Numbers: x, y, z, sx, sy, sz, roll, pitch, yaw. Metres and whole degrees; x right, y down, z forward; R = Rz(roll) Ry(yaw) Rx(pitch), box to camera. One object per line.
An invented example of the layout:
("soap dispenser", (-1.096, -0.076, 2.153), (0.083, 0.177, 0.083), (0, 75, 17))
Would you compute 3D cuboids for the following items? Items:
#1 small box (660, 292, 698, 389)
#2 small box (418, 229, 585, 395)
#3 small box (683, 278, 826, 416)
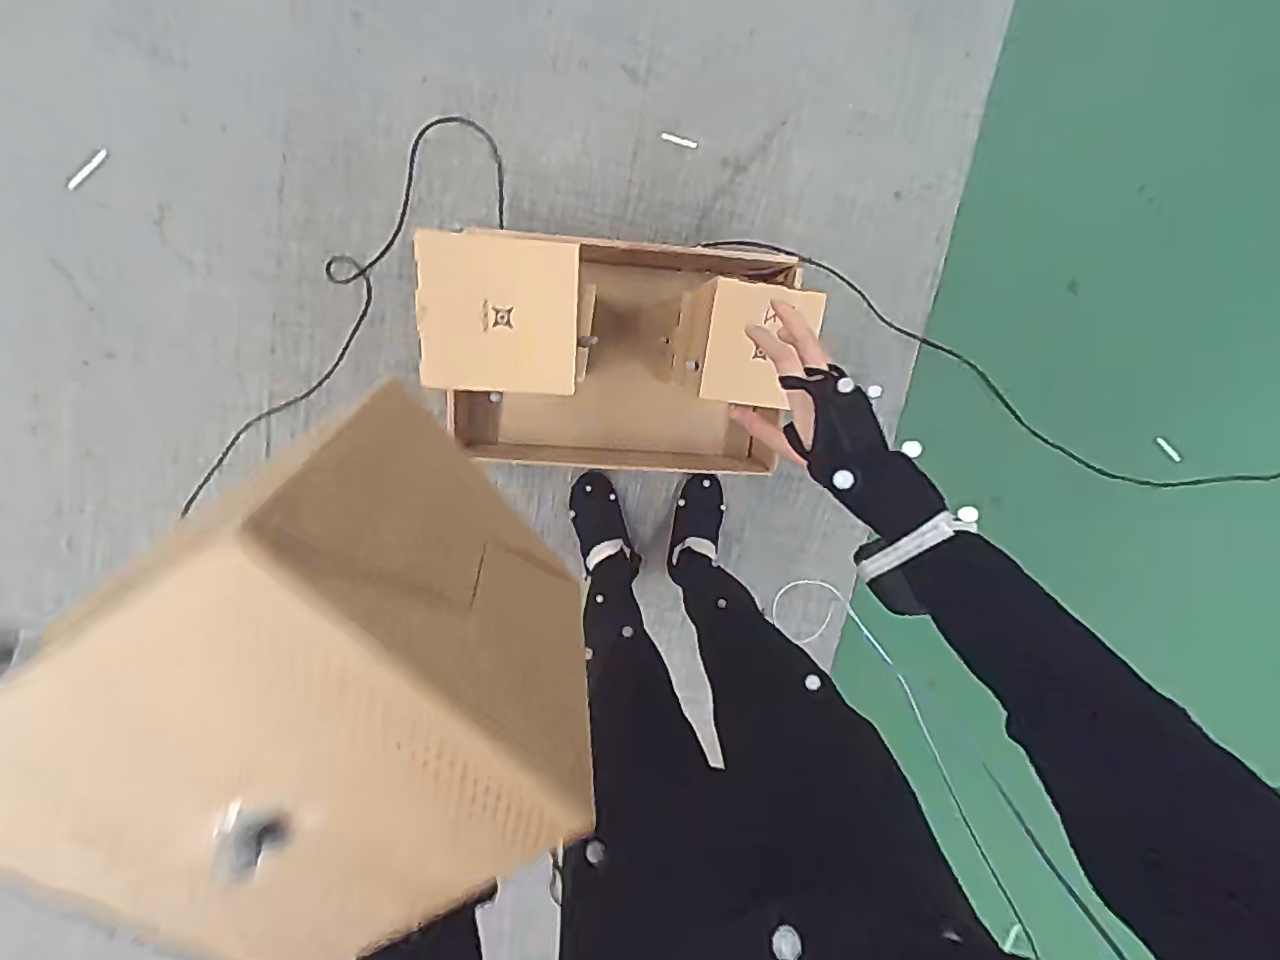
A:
("small box", (0.140, -0.248, 1.024), (0.179, 0.176, 0.168), (7, 102, -7))
("small box", (-0.159, -0.202, 0.671), (0.179, 0.176, 0.168), (2, 104, -5))
("small box", (0.170, -0.208, 0.867), (0.168, 0.176, 0.179), (7, 101, -8))
